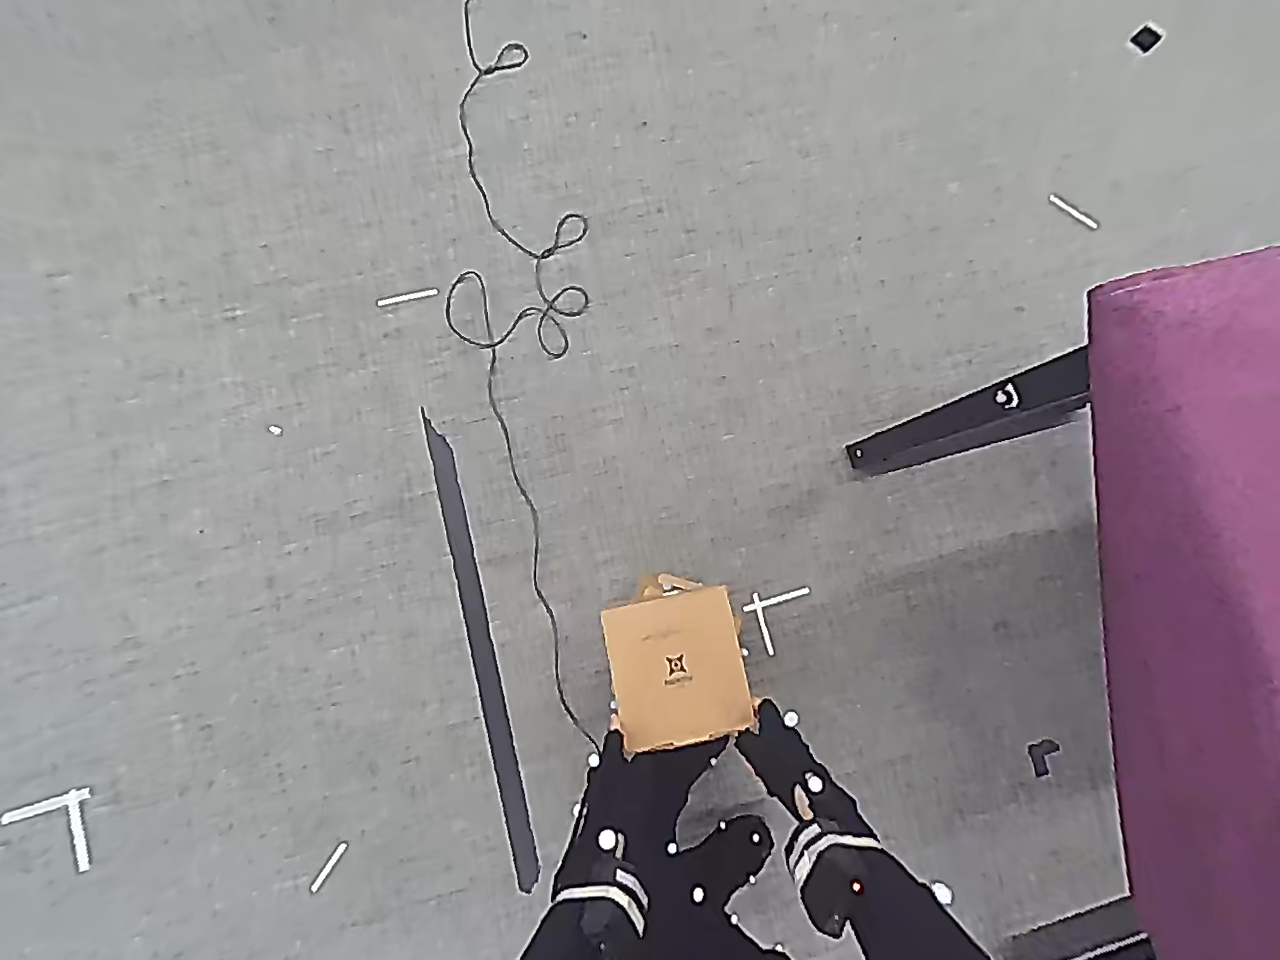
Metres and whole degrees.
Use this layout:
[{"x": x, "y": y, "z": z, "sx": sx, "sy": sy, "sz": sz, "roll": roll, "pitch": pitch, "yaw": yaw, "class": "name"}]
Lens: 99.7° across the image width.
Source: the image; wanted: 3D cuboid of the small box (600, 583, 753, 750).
[{"x": 0.045, "y": 0.245, "z": 0.754, "sx": 0.168, "sy": 0.176, "sz": 0.179, "roll": -12, "pitch": 80, "yaw": -2, "class": "small box"}]
